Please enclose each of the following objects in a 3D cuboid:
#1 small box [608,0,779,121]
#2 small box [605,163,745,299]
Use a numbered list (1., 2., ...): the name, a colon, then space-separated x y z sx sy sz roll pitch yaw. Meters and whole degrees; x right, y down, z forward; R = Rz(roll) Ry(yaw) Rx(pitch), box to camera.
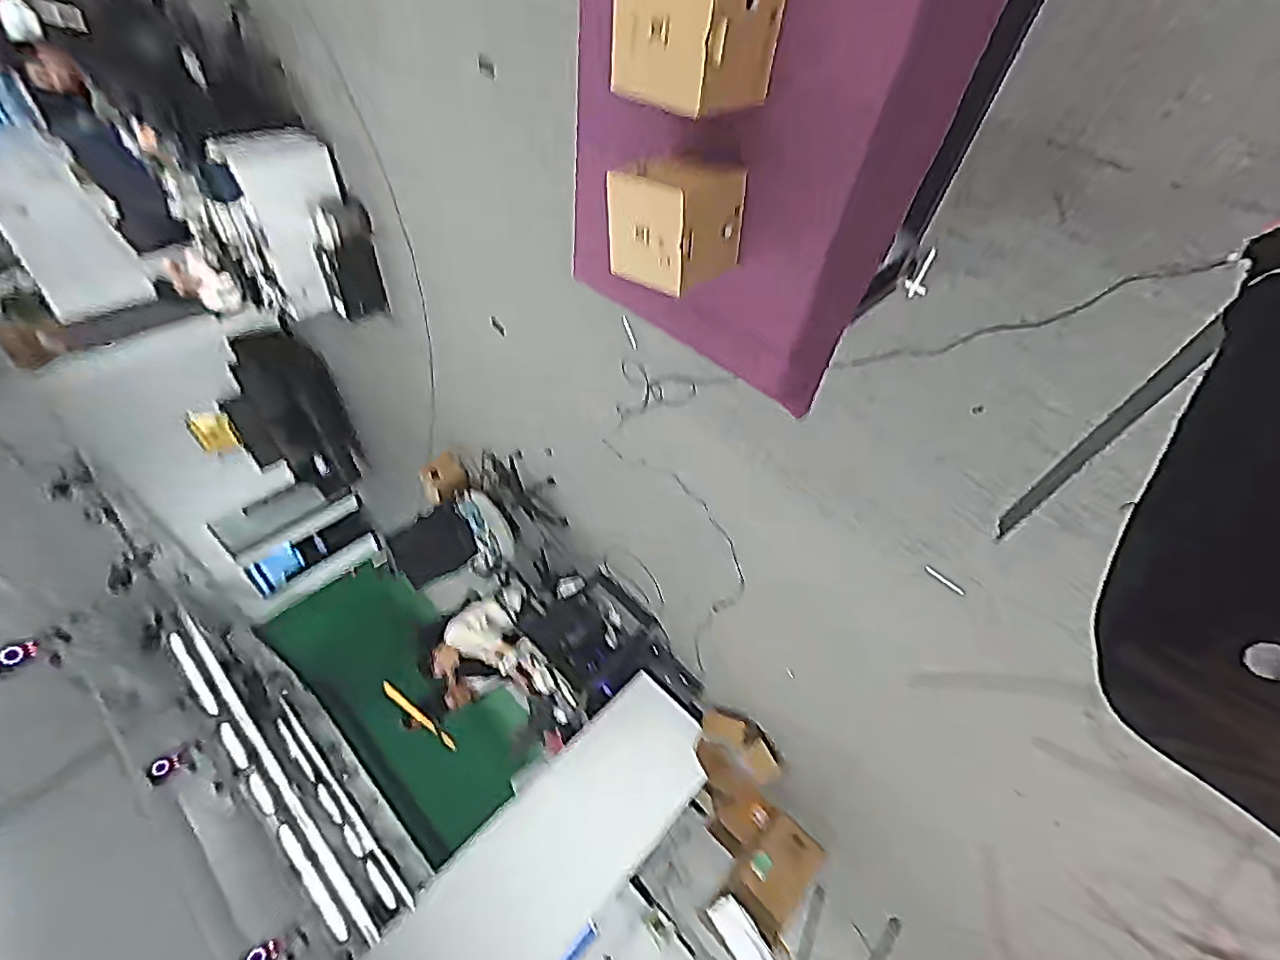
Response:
1. small box: 0.076 -0.636 0.766 0.179 0.176 0.168 37 143 25
2. small box: 0.060 -0.449 0.961 0.179 0.176 0.168 32 142 31
